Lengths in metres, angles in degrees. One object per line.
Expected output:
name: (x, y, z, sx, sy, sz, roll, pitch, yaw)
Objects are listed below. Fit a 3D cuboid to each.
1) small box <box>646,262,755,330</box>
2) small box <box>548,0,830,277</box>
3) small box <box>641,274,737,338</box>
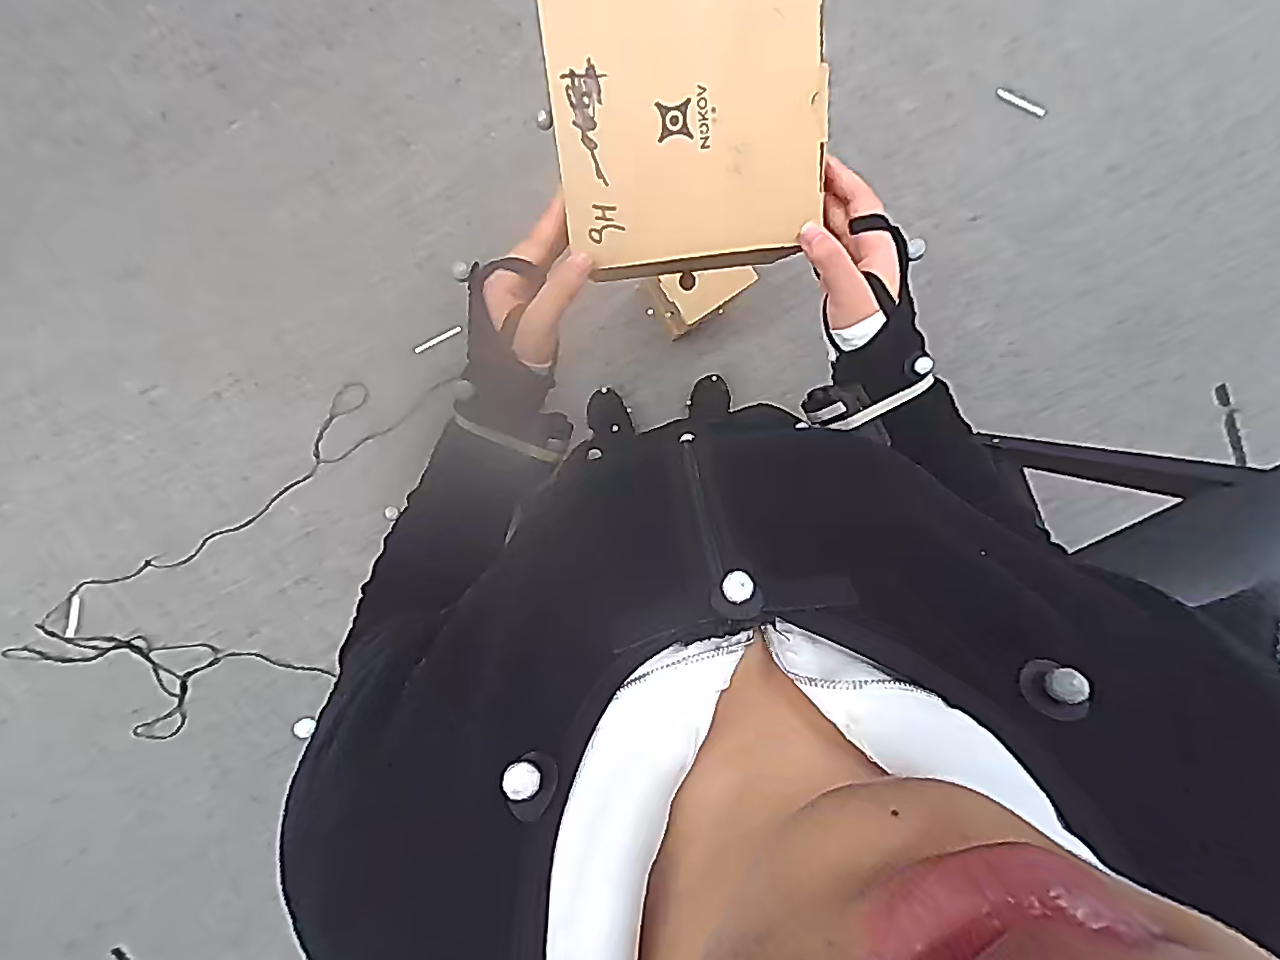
small box: (0.123, -0.450, 1.187, 0.179, 0.176, 0.168, -33, 99, 3)
small box: (0.035, -0.261, 0.428, 0.179, 0.176, 0.168, -6, 106, 2)
small box: (0.114, -0.472, 1.349, 0.179, 0.176, 0.168, -31, 98, 4)
